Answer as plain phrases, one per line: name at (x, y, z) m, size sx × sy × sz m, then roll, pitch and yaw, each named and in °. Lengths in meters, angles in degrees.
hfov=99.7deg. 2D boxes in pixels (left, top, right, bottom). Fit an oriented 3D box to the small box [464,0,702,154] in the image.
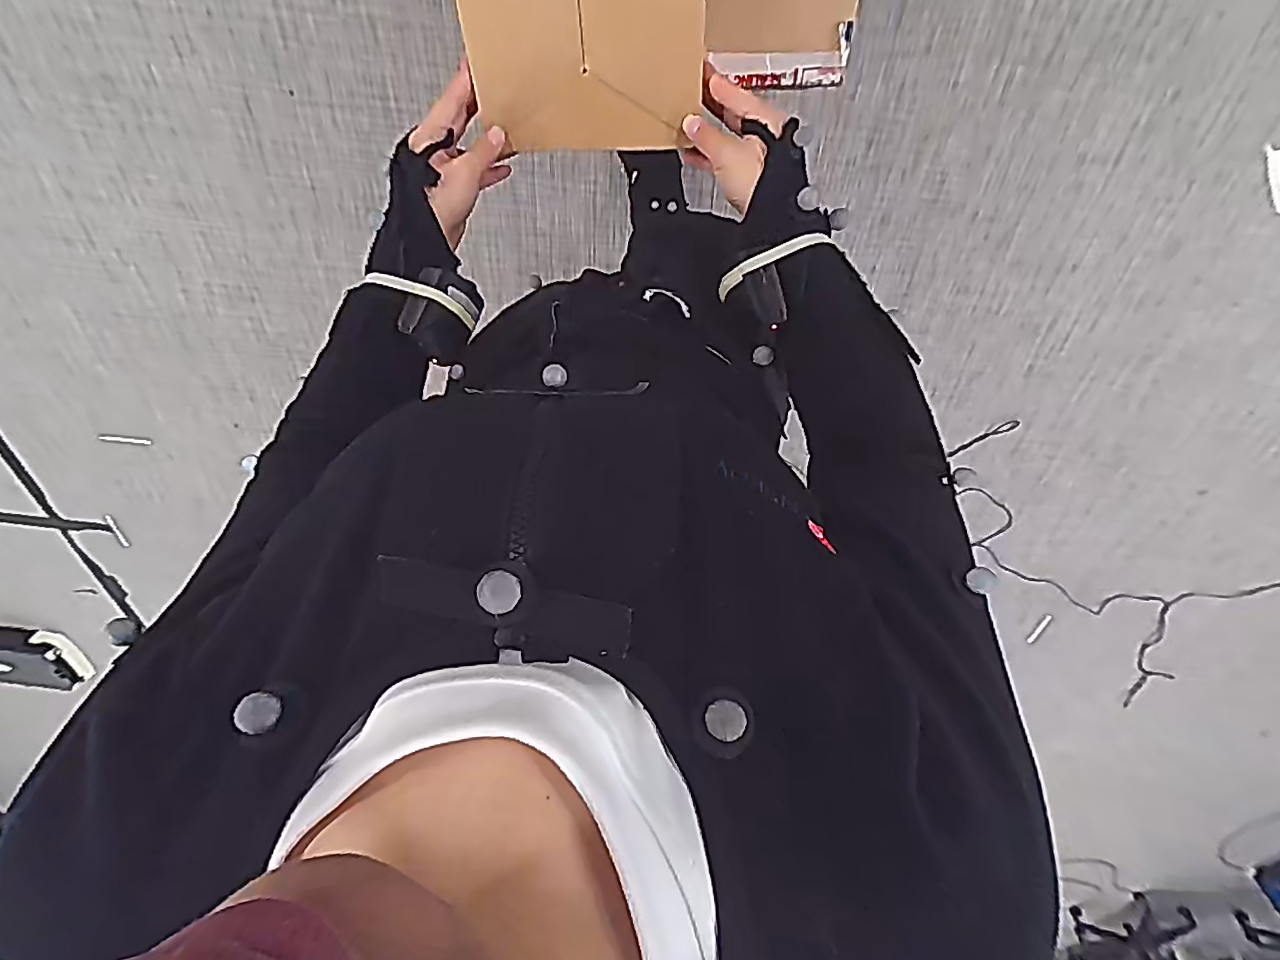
small box at (-0.039, -0.383, 0.443) m, size 0.179 × 0.176 × 0.168 m, roll 2°, pitch 135°, yaw 5°
